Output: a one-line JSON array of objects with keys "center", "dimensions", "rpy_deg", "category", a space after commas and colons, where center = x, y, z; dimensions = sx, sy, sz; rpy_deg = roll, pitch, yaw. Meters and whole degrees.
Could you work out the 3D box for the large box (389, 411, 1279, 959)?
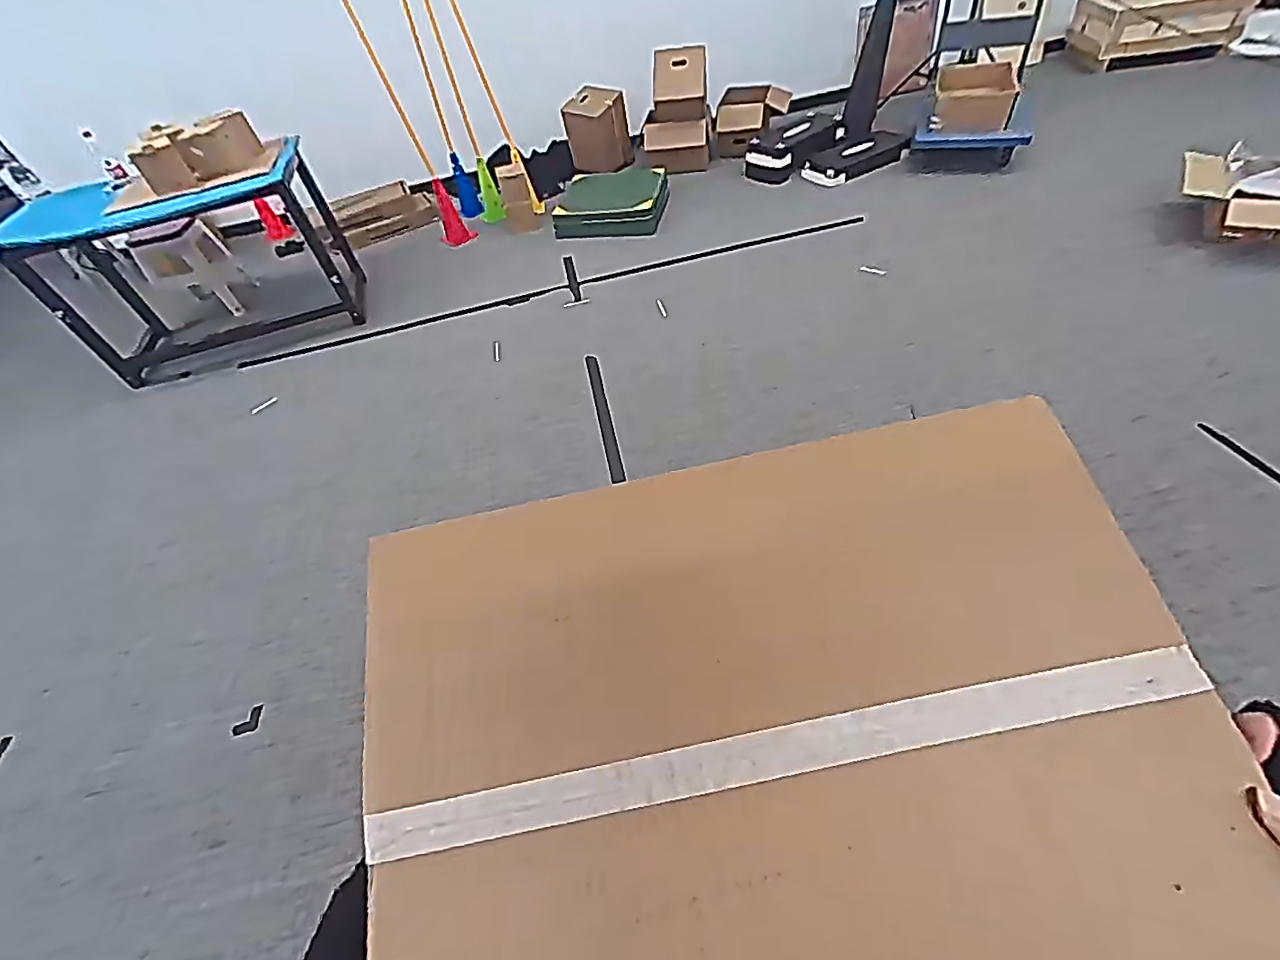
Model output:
[{"center": [0.081, 0.196, 0.406], "dimensions": [0.408, 0.320, 0.320], "rpy_deg": [-12, 67, 1], "category": "large box"}]
